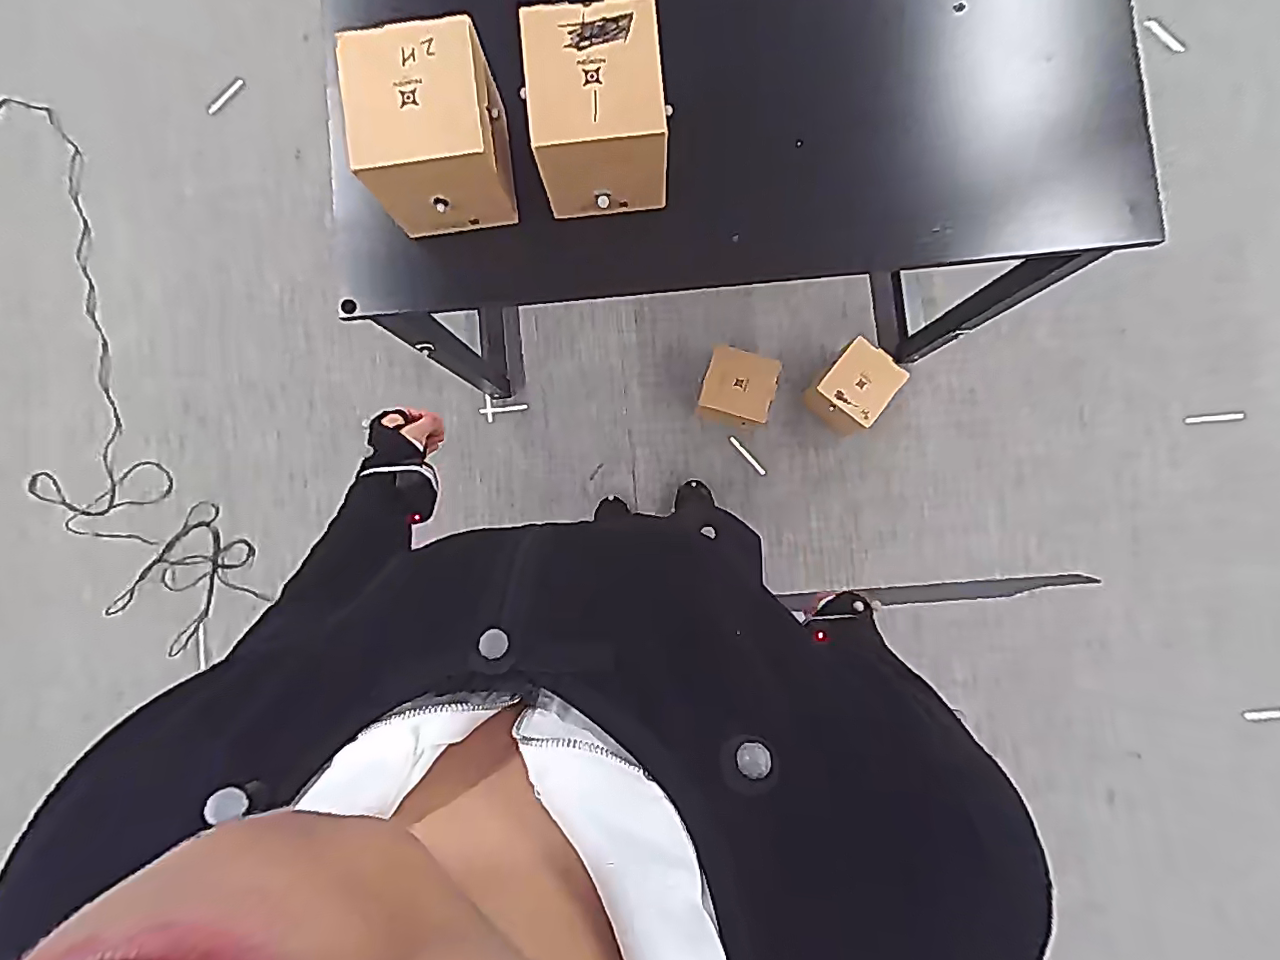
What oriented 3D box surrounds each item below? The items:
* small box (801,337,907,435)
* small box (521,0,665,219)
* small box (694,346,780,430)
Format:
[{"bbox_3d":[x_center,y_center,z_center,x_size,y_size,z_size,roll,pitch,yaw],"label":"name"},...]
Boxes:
[{"bbox_3d":[0.553,-0.241,1.429,0.168,0.176,0.179,38,89,3],"label":"small box"},{"bbox_3d":[-0.056,-0.483,0.727,0.168,0.176,0.179,-5,88,2],"label":"small box"},{"bbox_3d":[0.250,-0.237,1.440,0.179,0.176,0.168,16,87,3],"label":"small box"}]
